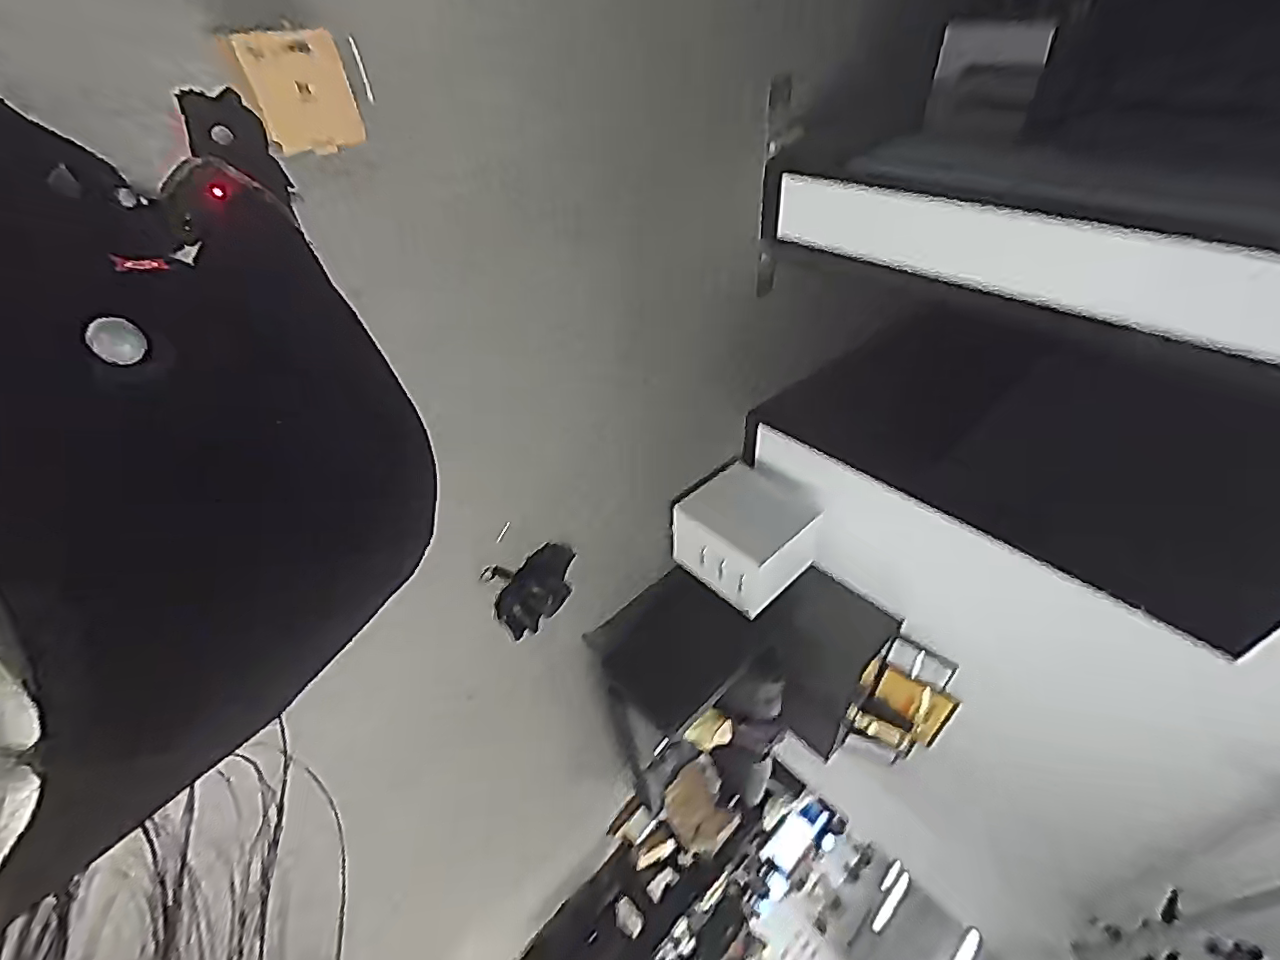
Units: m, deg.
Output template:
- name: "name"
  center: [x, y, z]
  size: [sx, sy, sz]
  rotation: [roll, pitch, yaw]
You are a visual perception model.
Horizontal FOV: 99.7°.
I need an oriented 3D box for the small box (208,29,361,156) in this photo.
- name: "small box"
  center: [-0.657, -0.725, 1.008]
  size: [0.168, 0.176, 0.179]
  rotation: [-31, 139, -30]
